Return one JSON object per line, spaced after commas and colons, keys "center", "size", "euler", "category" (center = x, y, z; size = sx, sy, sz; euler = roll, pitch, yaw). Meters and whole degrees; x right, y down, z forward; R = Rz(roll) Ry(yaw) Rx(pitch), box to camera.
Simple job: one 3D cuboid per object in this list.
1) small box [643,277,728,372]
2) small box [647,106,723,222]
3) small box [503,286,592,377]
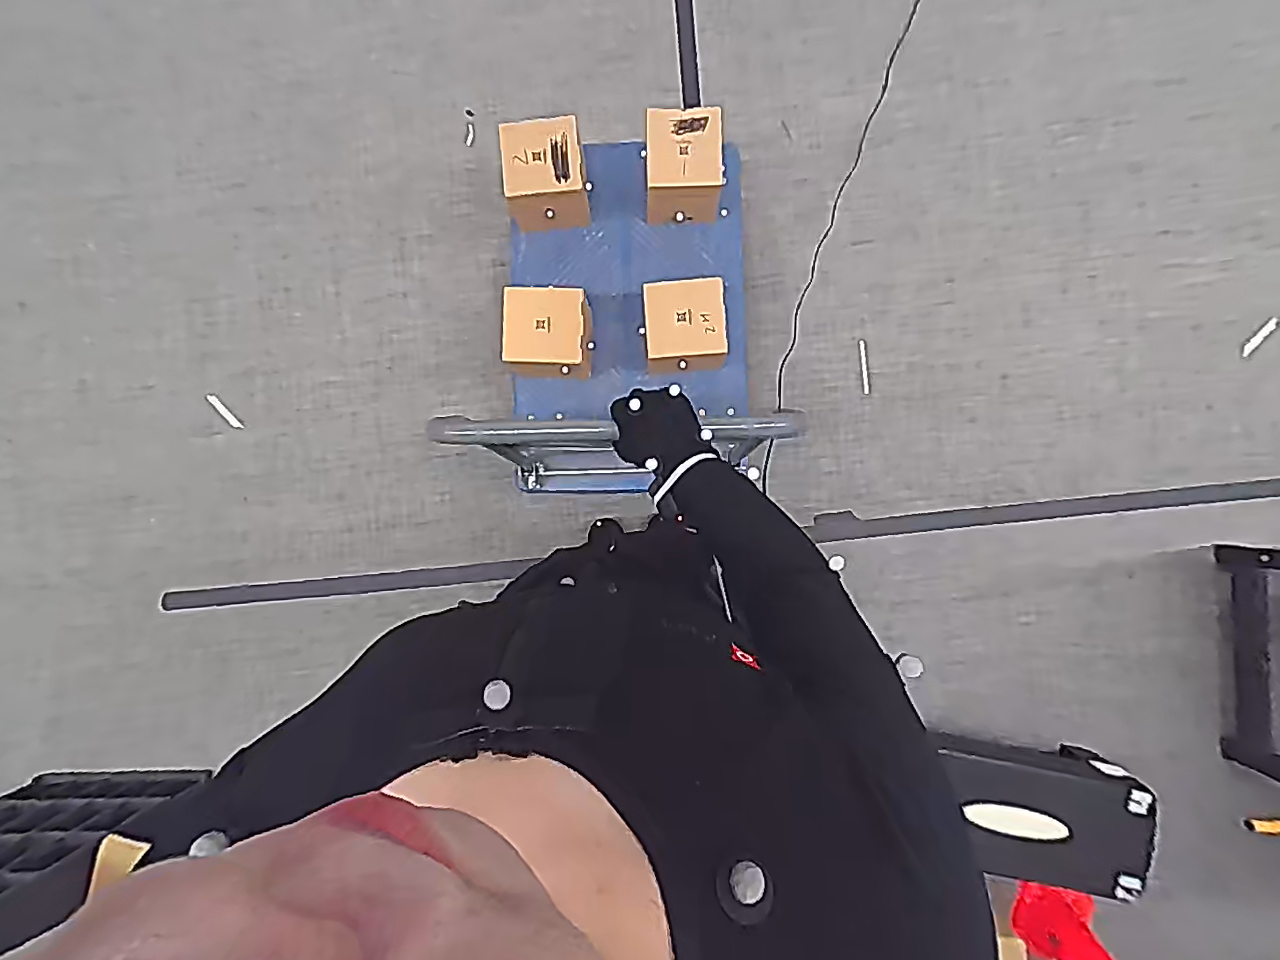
{"center": [0.102, -0.350, 1.247], "size": [0.179, 0.176, 0.168], "euler": [-4, 89, 1], "category": "small box"}
{"center": [0.101, -0.726, 1.256], "size": [0.168, 0.176, 0.179], "euler": [-1, 90, 1], "category": "small box"}
{"center": [-0.208, -0.338, 1.255], "size": [0.179, 0.176, 0.168], "euler": [1, 88, 0], "category": "small box"}
